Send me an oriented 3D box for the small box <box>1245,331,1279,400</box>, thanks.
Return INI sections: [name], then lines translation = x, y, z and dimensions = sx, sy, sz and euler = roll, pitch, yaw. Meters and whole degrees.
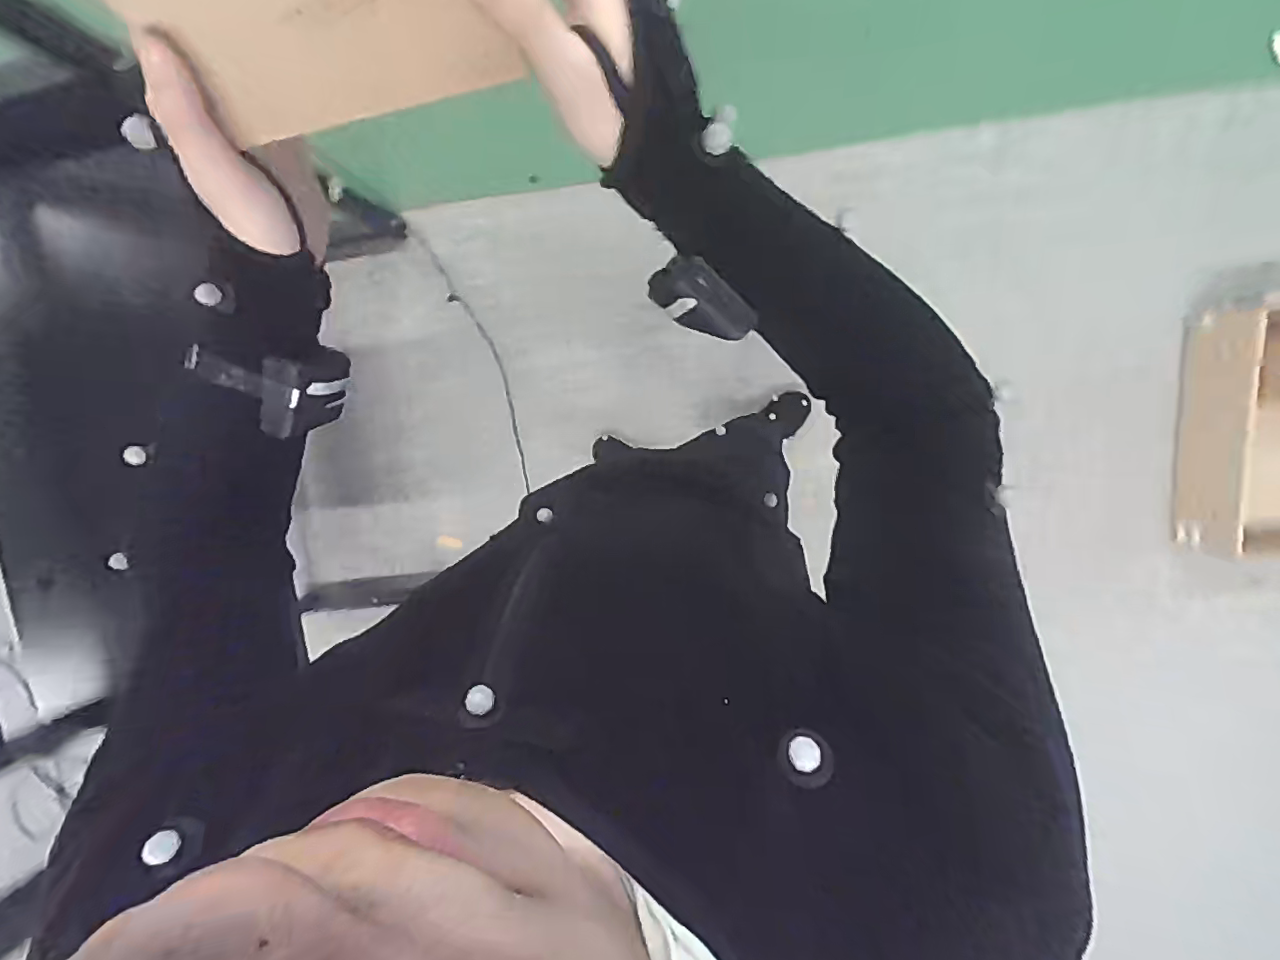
[small box]
translation = 1.588, -0.274, 1.262
dimensions = 0.179, 0.176, 0.168
euler = -4, 99, 7
